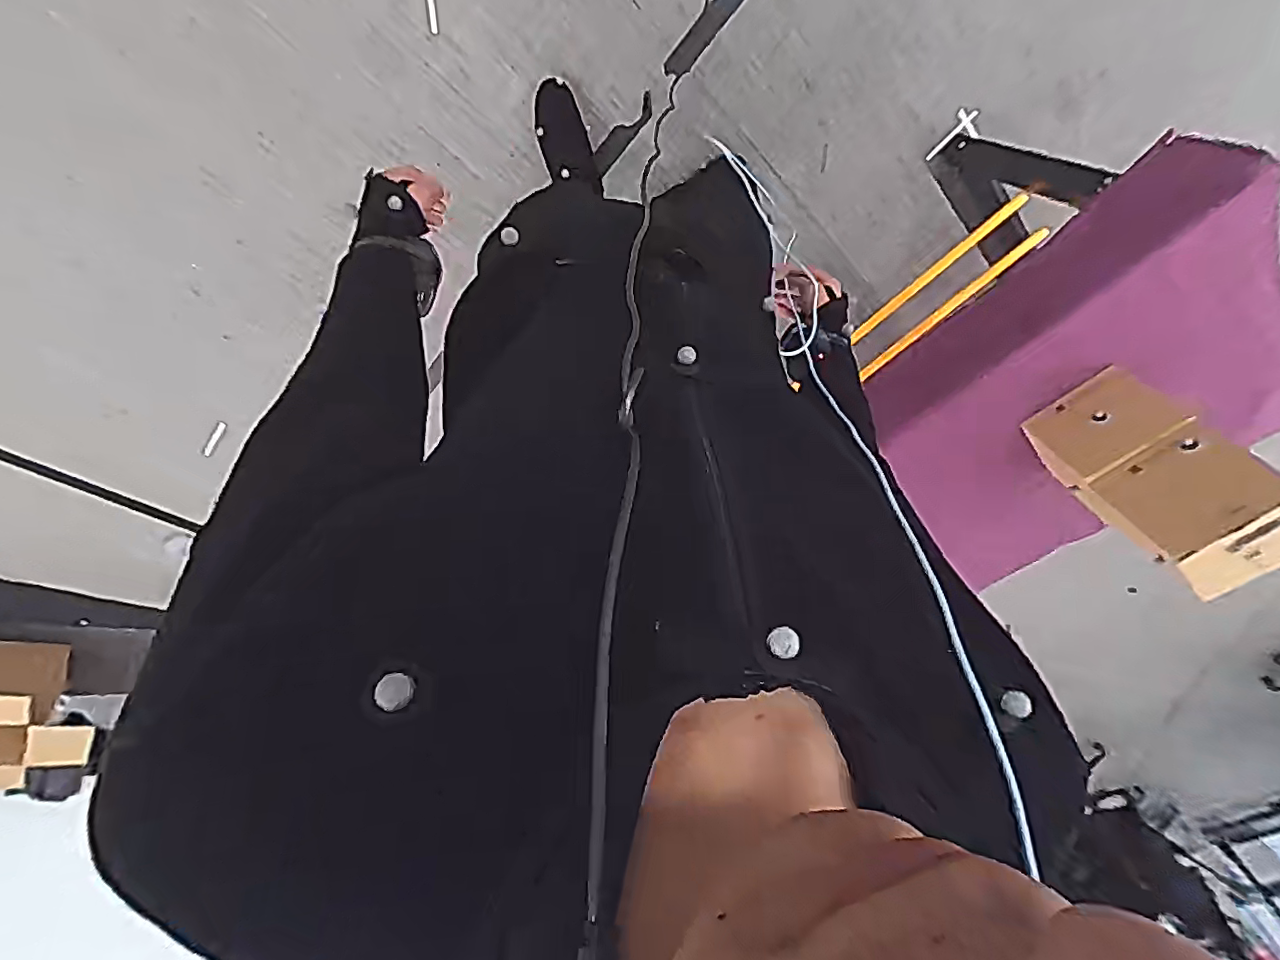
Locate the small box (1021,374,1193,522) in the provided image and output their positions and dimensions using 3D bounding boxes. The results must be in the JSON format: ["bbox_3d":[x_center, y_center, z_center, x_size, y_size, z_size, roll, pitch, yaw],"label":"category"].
[{"bbox_3d":[0.826,-0.064,0.960,0.168,0.176,0.179,-39,124,23],"label":"small box"}]

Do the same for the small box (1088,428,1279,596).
[{"bbox_3d":[0.855,0.044,0.839,0.179,0.176,0.168,31,119,-30],"label":"small box"}]
